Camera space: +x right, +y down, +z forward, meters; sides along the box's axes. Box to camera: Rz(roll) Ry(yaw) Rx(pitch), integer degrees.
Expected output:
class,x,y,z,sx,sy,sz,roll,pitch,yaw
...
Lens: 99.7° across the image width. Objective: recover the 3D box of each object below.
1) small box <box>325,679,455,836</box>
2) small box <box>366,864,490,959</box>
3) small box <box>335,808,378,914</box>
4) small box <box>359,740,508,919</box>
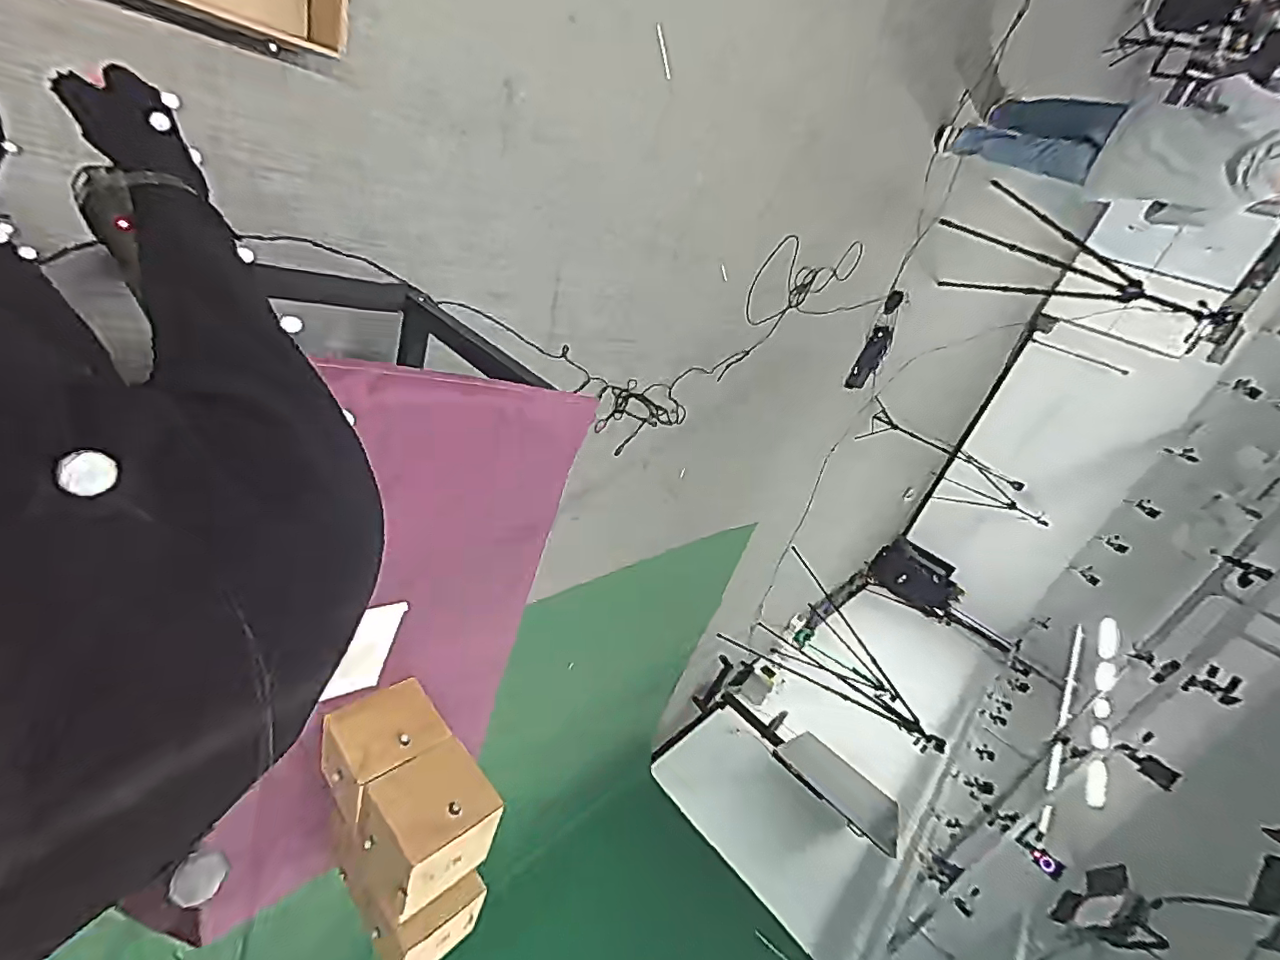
class,x,y,z,sx,sy,sz,roll,pitch,yaw
small box,-0.489,0.527,1.050,0.179,0.176,0.168,-14,130,-47
small box,-0.445,0.873,1.122,0.179,0.176,0.168,-9,128,-48
small box,-0.559,0.796,1.211,0.179,0.176,0.168,-10,128,-49
small box,-0.372,0.611,0.970,0.179,0.176,0.168,-10,127,-49
